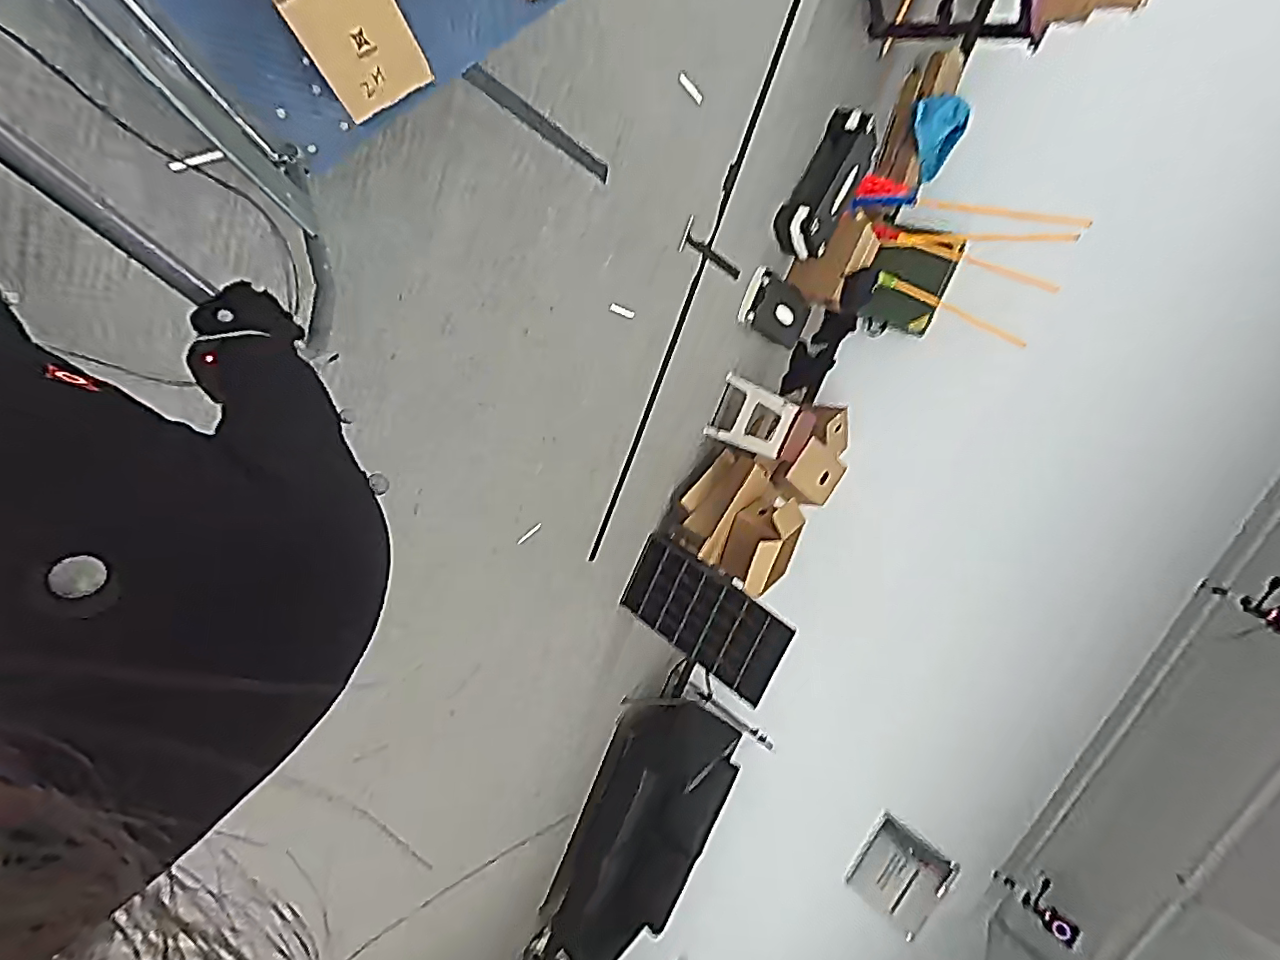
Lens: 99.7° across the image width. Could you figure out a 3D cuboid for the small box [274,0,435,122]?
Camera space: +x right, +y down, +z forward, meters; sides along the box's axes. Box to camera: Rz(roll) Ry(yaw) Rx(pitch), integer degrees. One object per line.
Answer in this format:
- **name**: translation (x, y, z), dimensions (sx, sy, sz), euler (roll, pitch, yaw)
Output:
- **small box**: translation (-0.493, -0.768, 0.931), dimensions (0.168, 0.176, 0.179), euler (-34, 146, -4)
